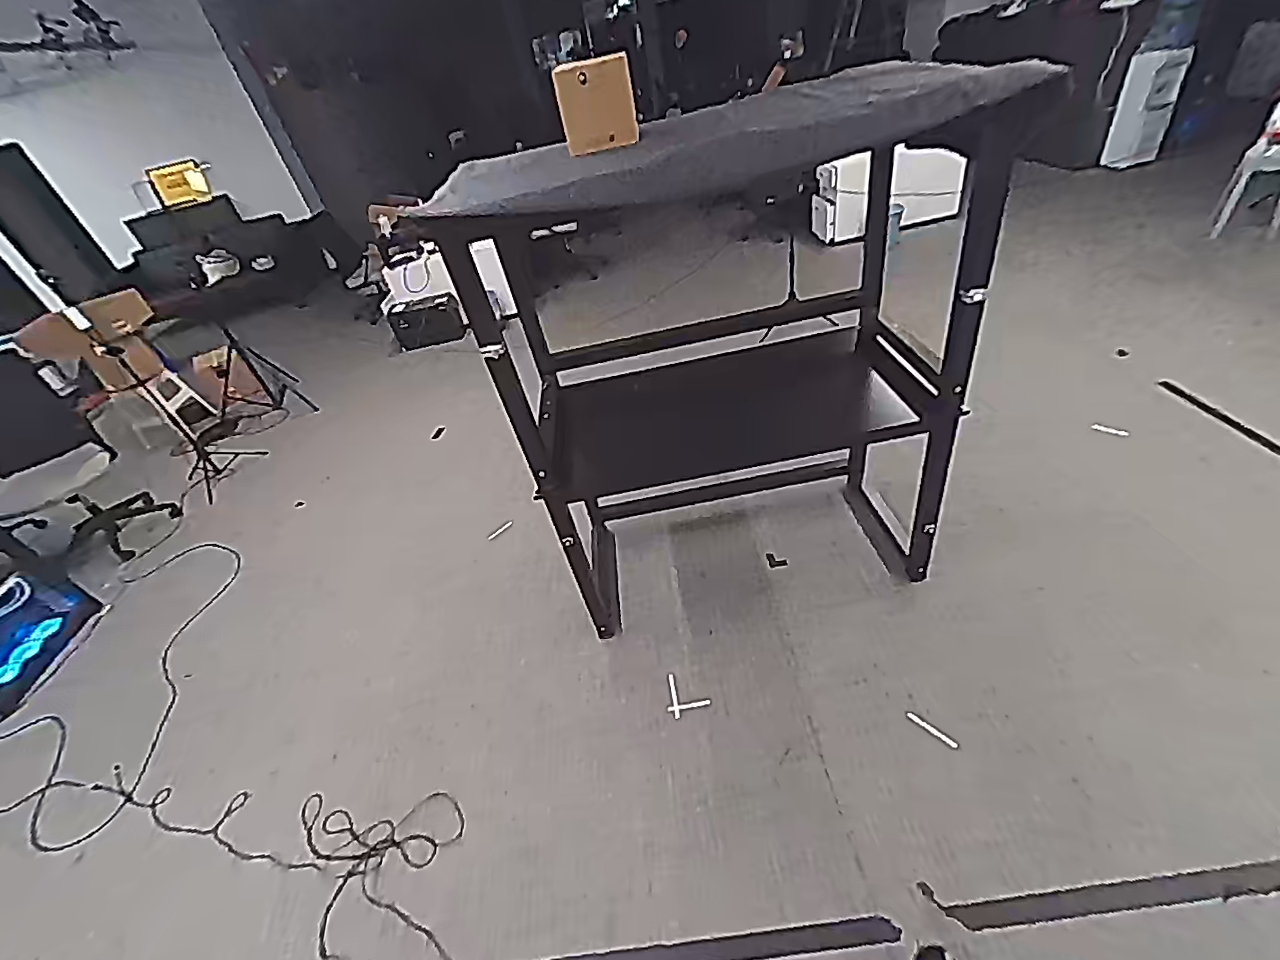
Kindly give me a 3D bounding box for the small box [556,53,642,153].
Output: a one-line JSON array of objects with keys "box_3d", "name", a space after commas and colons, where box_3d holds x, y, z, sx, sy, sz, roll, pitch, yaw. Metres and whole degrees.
[{"box_3d": [-0.091, -0.897, 1.290, 0.168, 0.176, 0.179, -8, 39, 7], "name": "small box"}]
